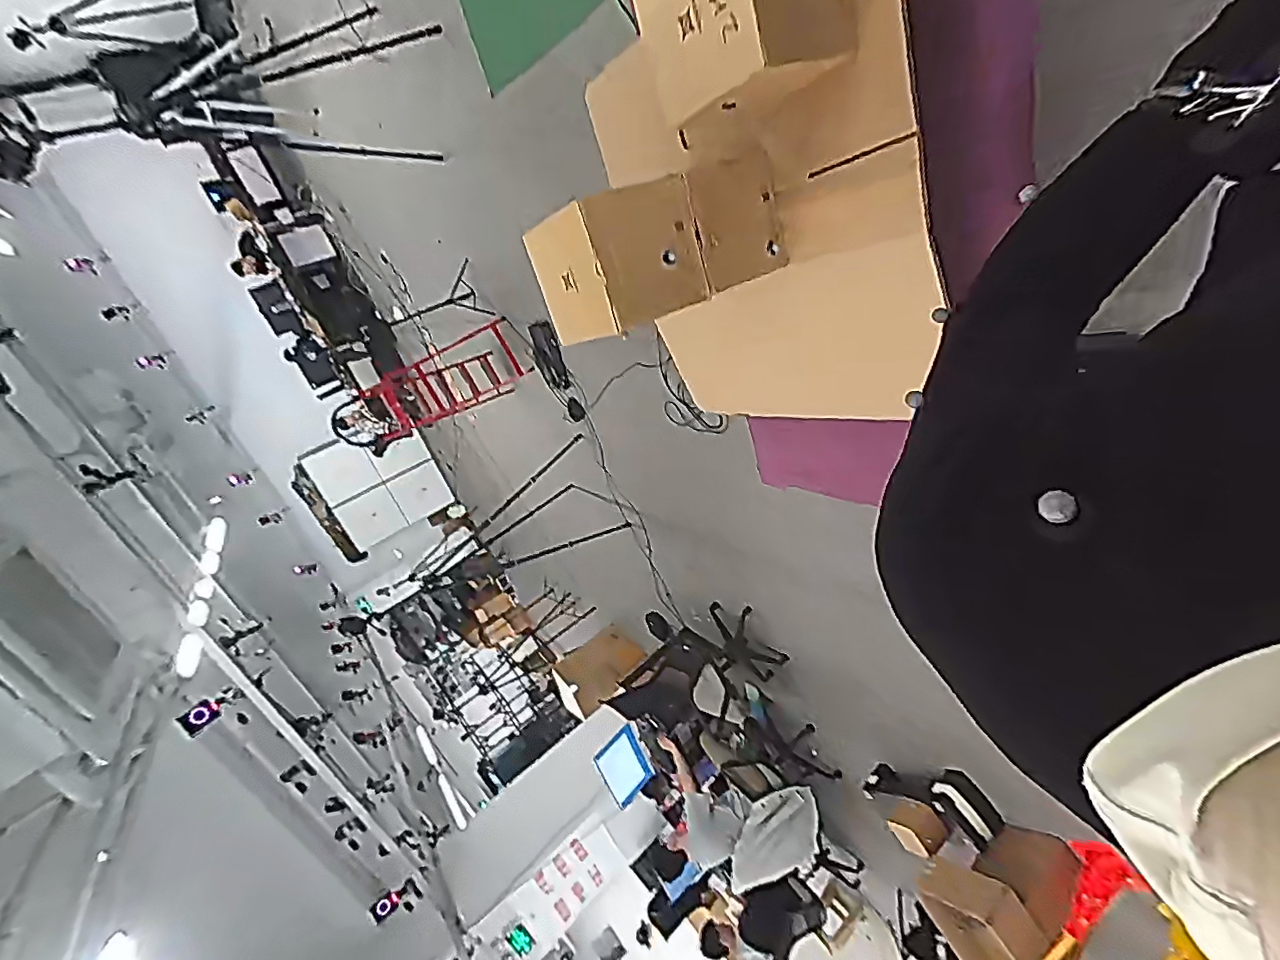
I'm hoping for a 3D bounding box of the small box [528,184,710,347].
[{"bbox_3d":[-0.030,-0.301,0.777,0.179,0.176,0.168,10,123,55],"label":"small box"}]

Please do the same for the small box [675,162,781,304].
[{"bbox_3d":[0.100,-0.372,0.844,0.179,0.176,0.168,12,126,56],"label":"small box"}]

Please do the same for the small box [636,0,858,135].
[{"bbox_3d":[0.125,-0.541,0.642,0.179,0.176,0.168,13,127,55],"label":"small box"}]
